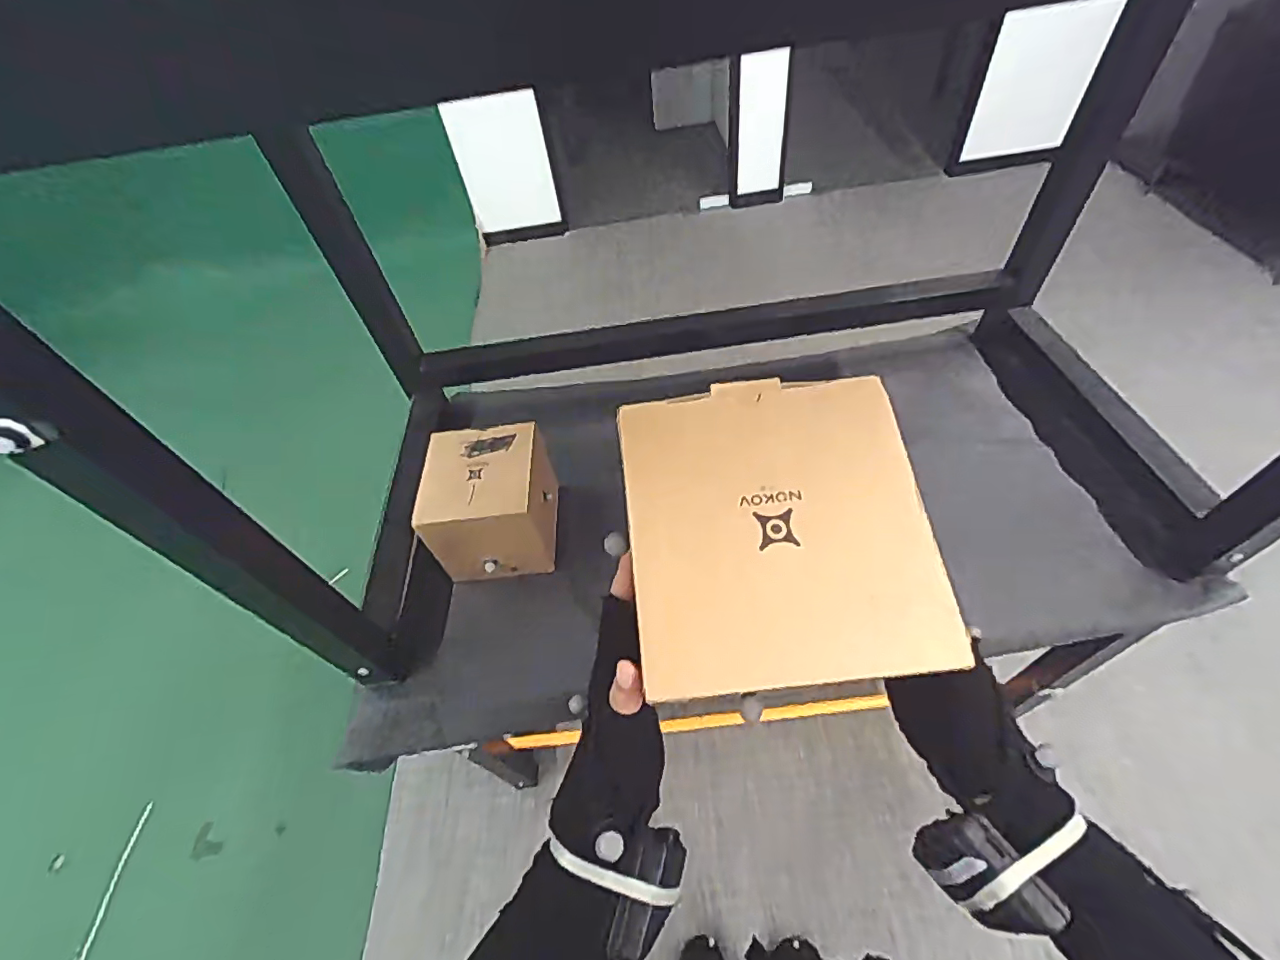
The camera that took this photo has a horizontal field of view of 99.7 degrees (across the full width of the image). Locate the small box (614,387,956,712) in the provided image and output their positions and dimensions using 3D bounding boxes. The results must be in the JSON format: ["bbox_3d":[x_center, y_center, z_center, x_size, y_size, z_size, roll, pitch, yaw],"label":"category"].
[{"bbox_3d":[0.077,0.061,0.380,0.168,0.176,0.179,-7,66,0],"label":"small box"}]

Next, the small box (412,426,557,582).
[{"bbox_3d":[-0.230,0.040,0.853,0.168,0.176,0.179,-6,51,2],"label":"small box"}]
